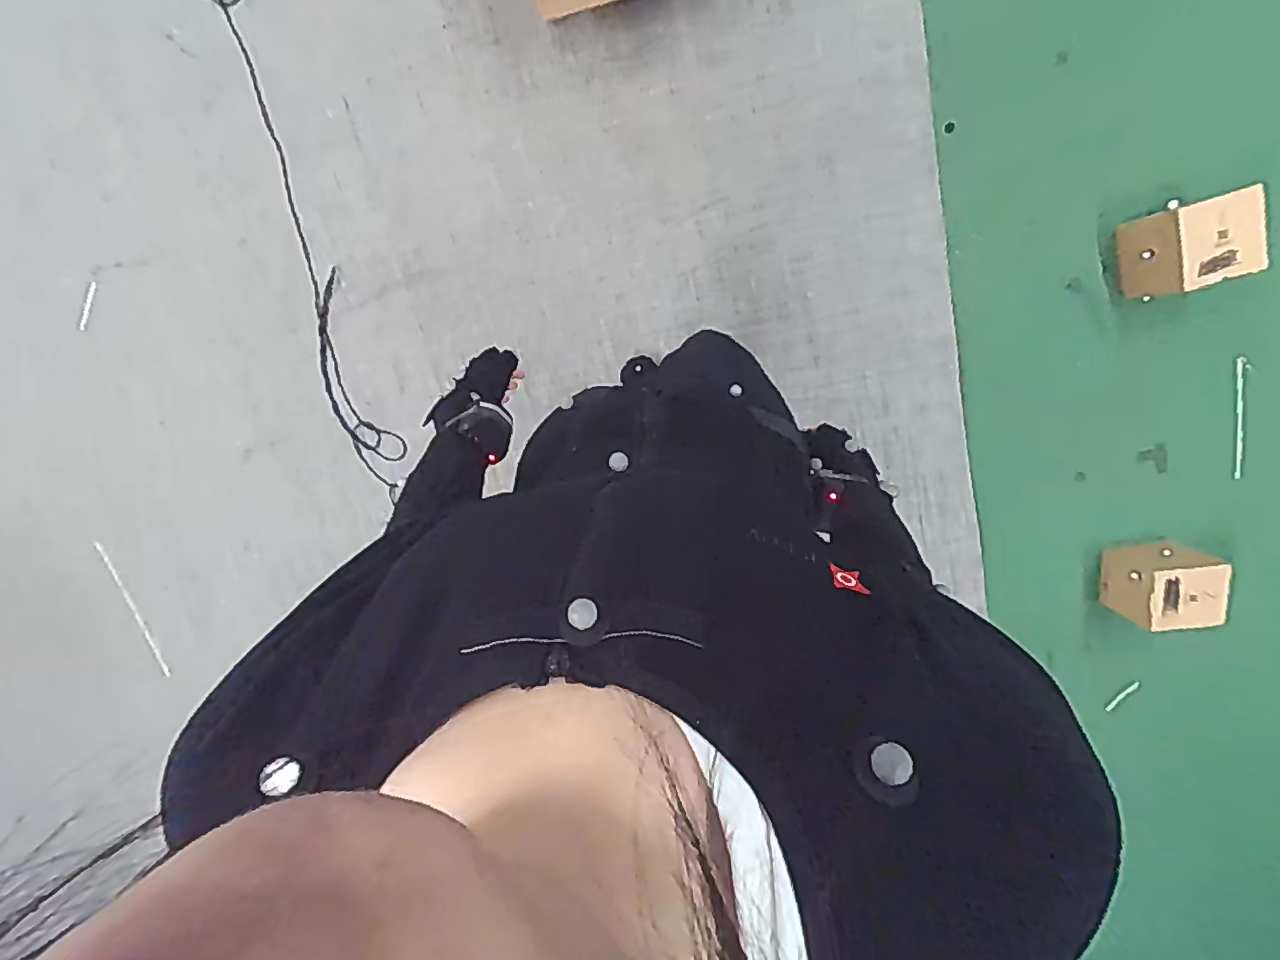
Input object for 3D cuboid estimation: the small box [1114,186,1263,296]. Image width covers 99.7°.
[{"bbox_3d":[1.214,-0.519,1.207,0.168,0.176,0.179,-16,102,7],"label":"small box"}]
